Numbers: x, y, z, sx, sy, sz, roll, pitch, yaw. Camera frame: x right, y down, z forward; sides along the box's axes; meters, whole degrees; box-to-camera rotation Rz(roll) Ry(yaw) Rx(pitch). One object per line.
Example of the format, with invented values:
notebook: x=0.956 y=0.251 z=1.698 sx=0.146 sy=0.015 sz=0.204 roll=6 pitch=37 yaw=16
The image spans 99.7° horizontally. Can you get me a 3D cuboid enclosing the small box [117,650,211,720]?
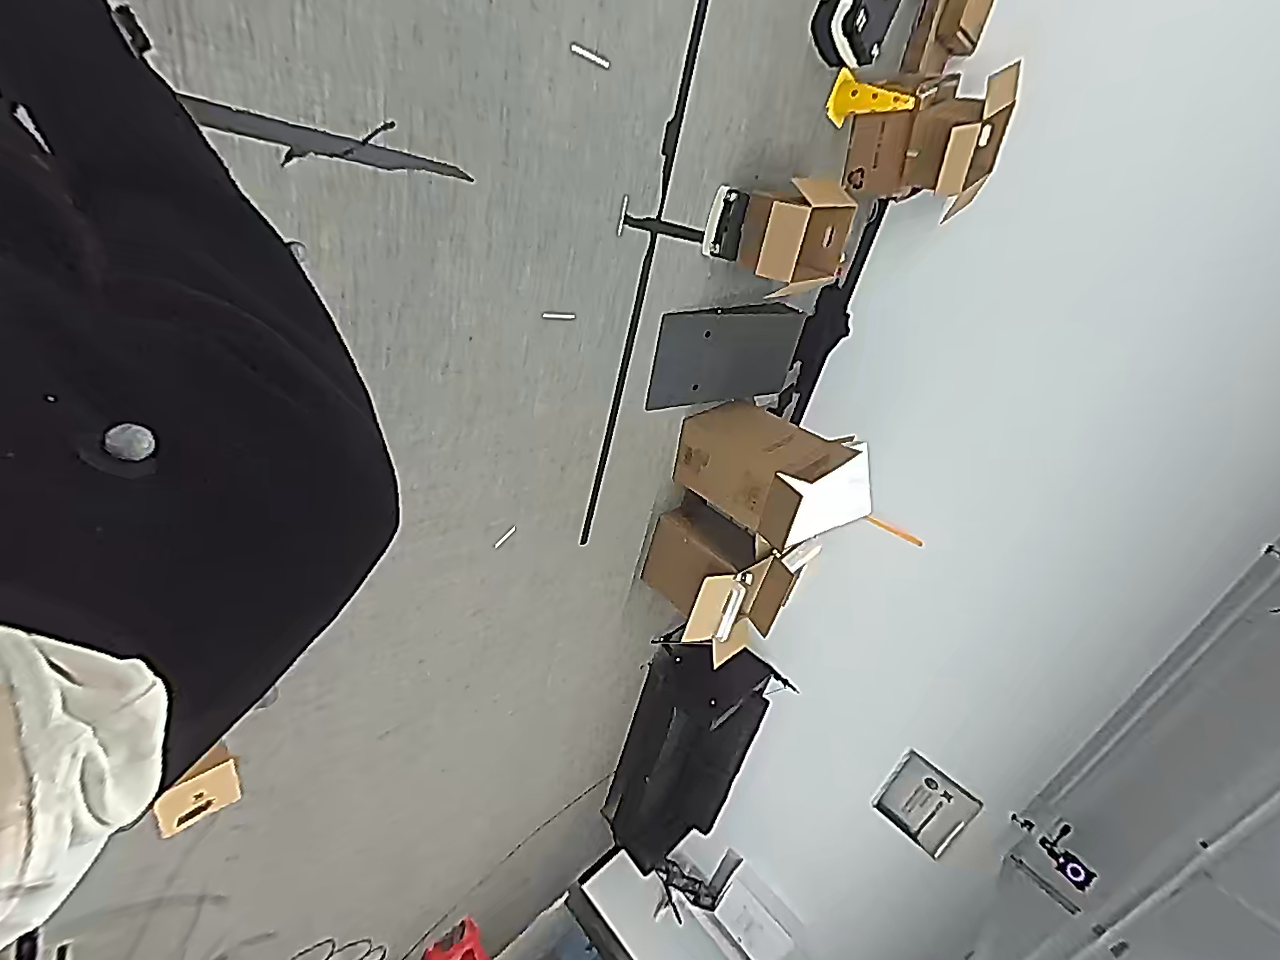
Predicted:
small box: x=-1.410 y=0.645 z=1.604 sx=0.168 sy=0.176 sz=0.179 roll=-20 pitch=133 yaw=-43

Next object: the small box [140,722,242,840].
small box: x=-1.175 y=0.781 z=1.419 sx=0.168 sy=0.176 sz=0.179 roll=-18 pitch=131 yaw=-45

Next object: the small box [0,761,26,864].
small box: x=-1.558 y=0.792 z=1.241 sx=0.179 sy=0.176 sz=0.168 roll=-9 pitch=125 yaw=-48

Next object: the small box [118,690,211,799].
small box: x=-1.305 y=0.727 z=1.508 sx=0.179 sy=0.176 sz=0.168 roll=-21 pitch=134 yaw=-42
